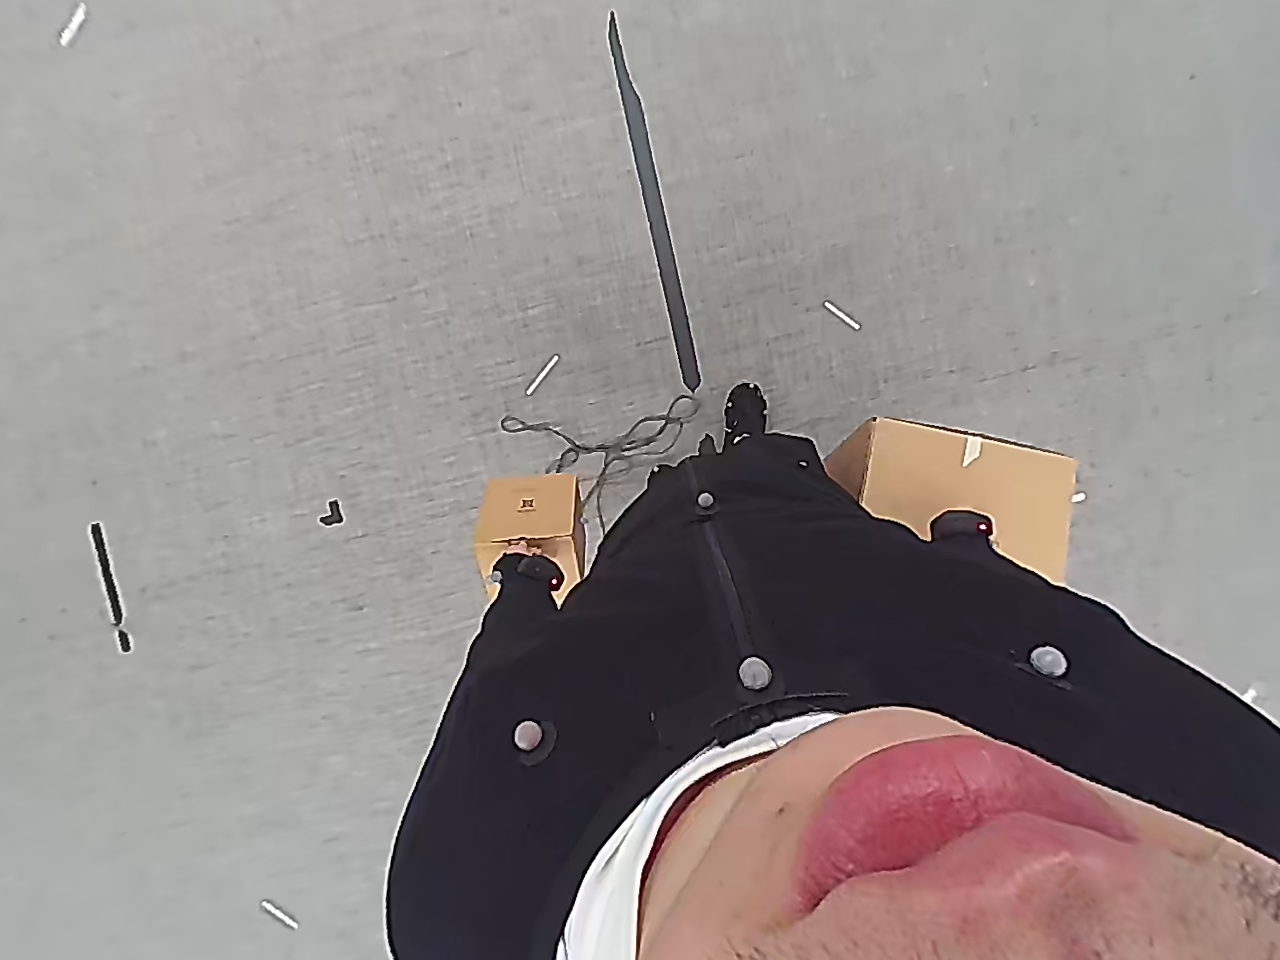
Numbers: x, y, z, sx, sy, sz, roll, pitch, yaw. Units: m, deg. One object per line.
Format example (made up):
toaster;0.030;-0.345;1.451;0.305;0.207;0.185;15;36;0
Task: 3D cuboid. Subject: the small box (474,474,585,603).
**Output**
small box;-0.191;0.111;0.993;0.168;0.179;0.176;-4;127;-2
